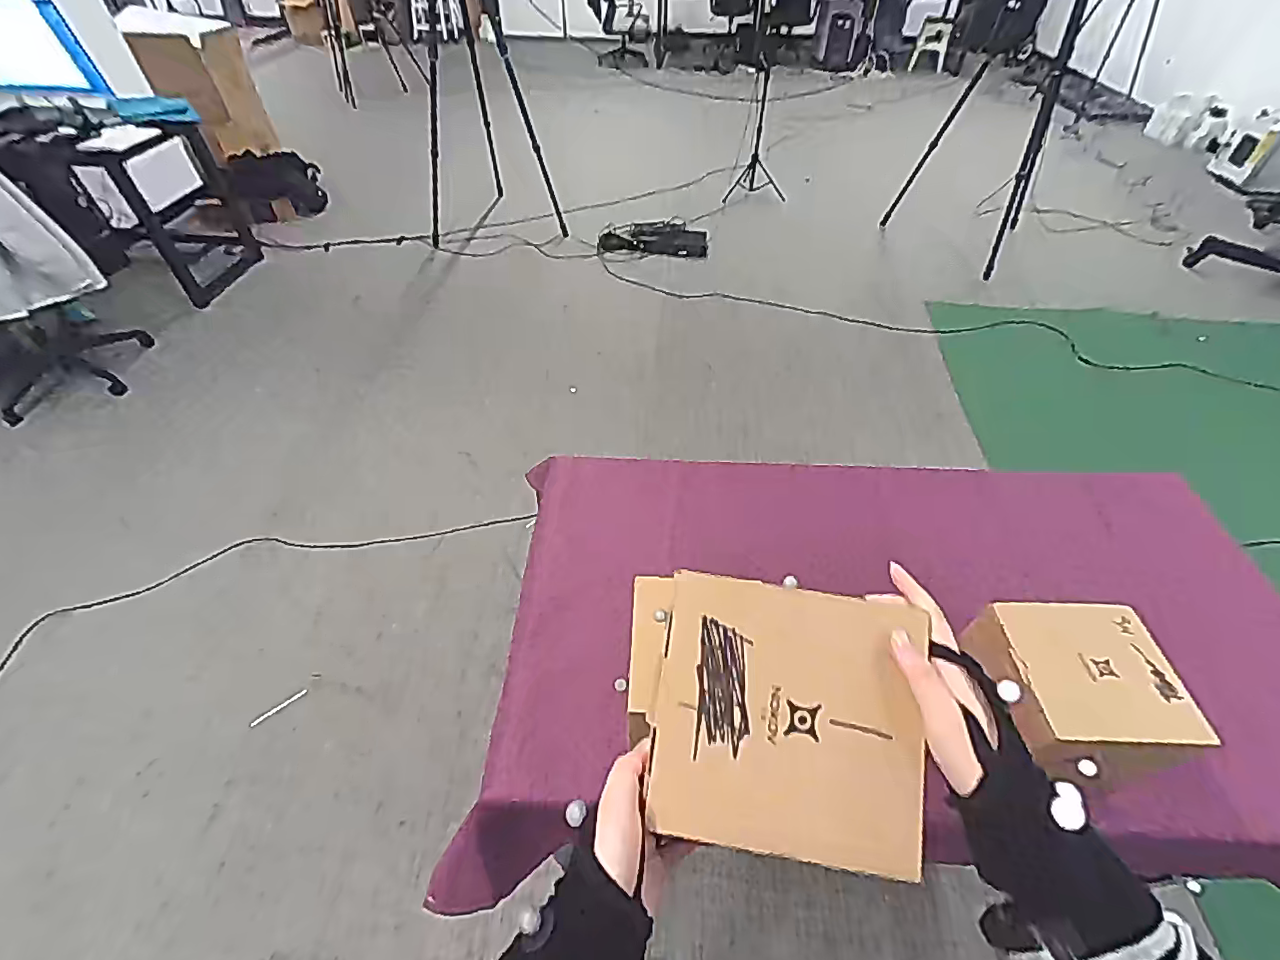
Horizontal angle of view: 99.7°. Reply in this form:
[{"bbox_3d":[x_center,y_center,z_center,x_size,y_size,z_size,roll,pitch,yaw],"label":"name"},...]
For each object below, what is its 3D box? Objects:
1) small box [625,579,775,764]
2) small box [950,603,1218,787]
[{"bbox_3d":[0.071,0.249,0.695,0.168,0.176,0.179,2,47,2],"label":"small box"},{"bbox_3d":[0.517,0.270,0.673,0.179,0.176,0.168,1,47,2],"label":"small box"}]
